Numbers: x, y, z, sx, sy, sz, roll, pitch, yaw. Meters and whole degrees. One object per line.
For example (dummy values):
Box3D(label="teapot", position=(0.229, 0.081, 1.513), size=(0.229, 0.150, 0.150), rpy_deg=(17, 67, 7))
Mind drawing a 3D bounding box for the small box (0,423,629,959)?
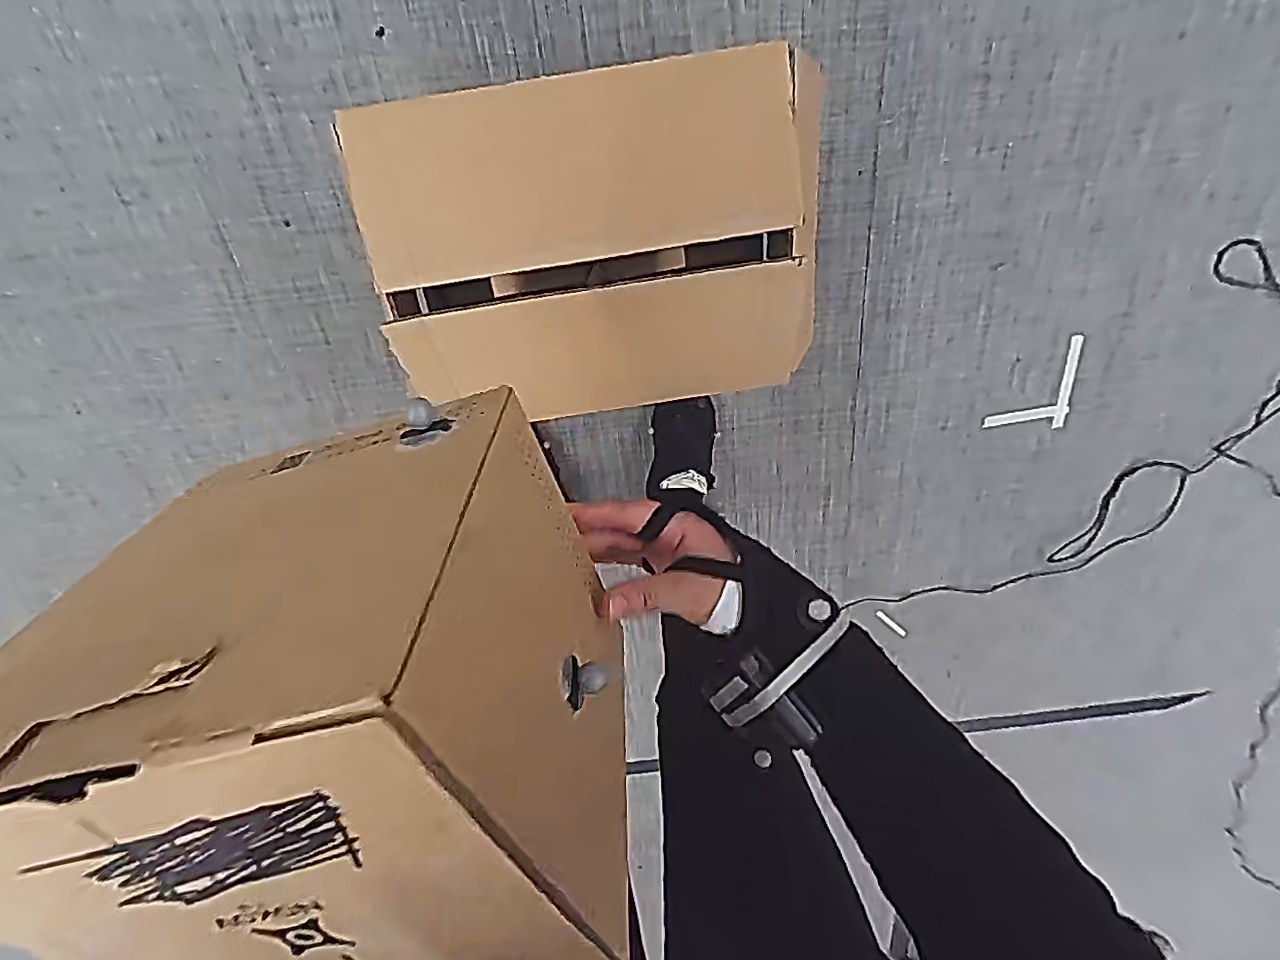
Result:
Box3D(label="small box", position=(-0.110, 0.092, 0.240), size=(0.168, 0.176, 0.179), rpy_deg=(-15, 124, 7))
